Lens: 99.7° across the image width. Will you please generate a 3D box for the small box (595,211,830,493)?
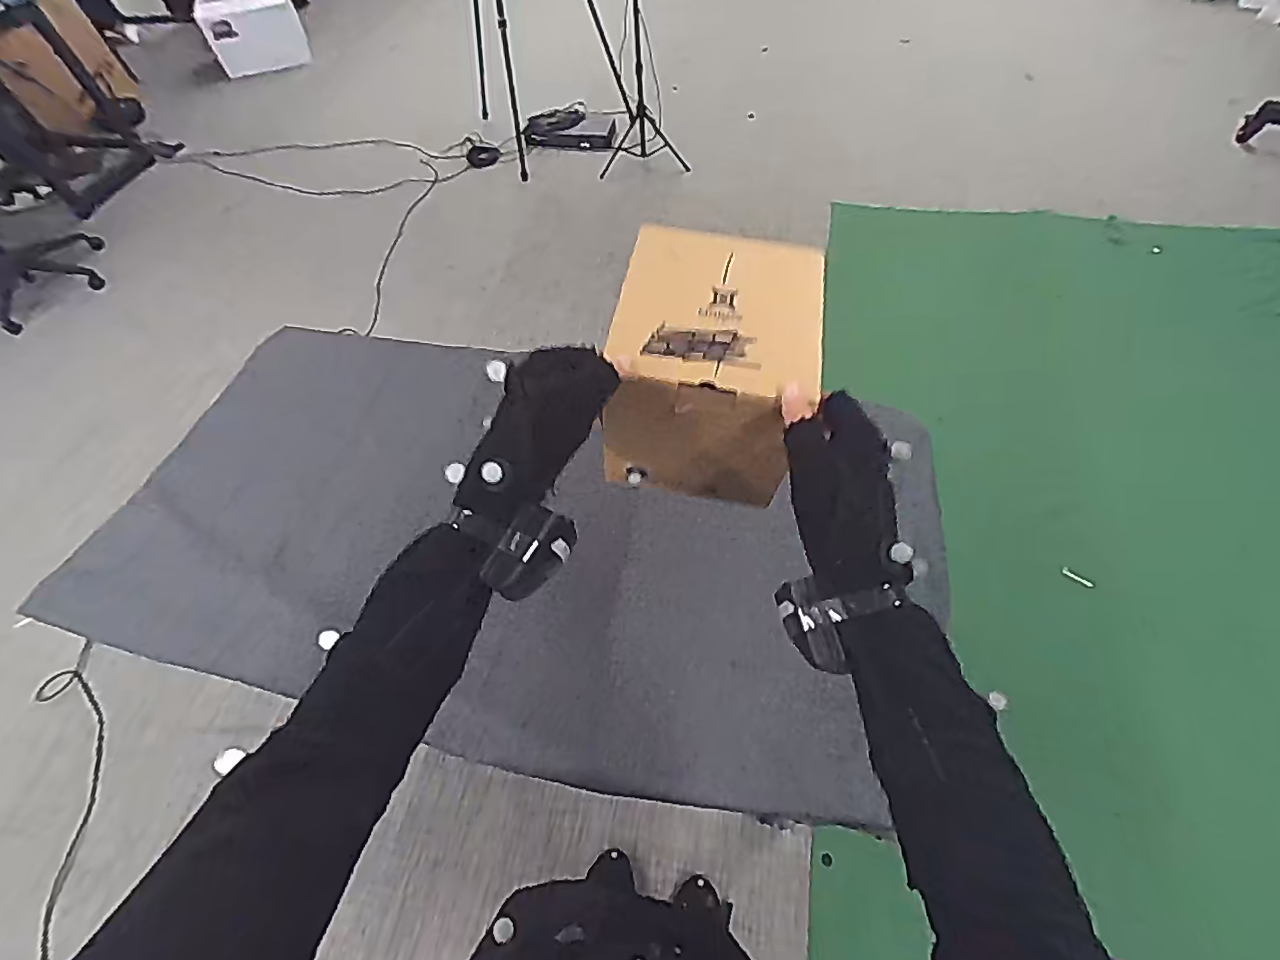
[{"bbox_3d":[0.063,-0.107,0.492,0.168,0.176,0.179,10,61,4],"label":"small box"}]
